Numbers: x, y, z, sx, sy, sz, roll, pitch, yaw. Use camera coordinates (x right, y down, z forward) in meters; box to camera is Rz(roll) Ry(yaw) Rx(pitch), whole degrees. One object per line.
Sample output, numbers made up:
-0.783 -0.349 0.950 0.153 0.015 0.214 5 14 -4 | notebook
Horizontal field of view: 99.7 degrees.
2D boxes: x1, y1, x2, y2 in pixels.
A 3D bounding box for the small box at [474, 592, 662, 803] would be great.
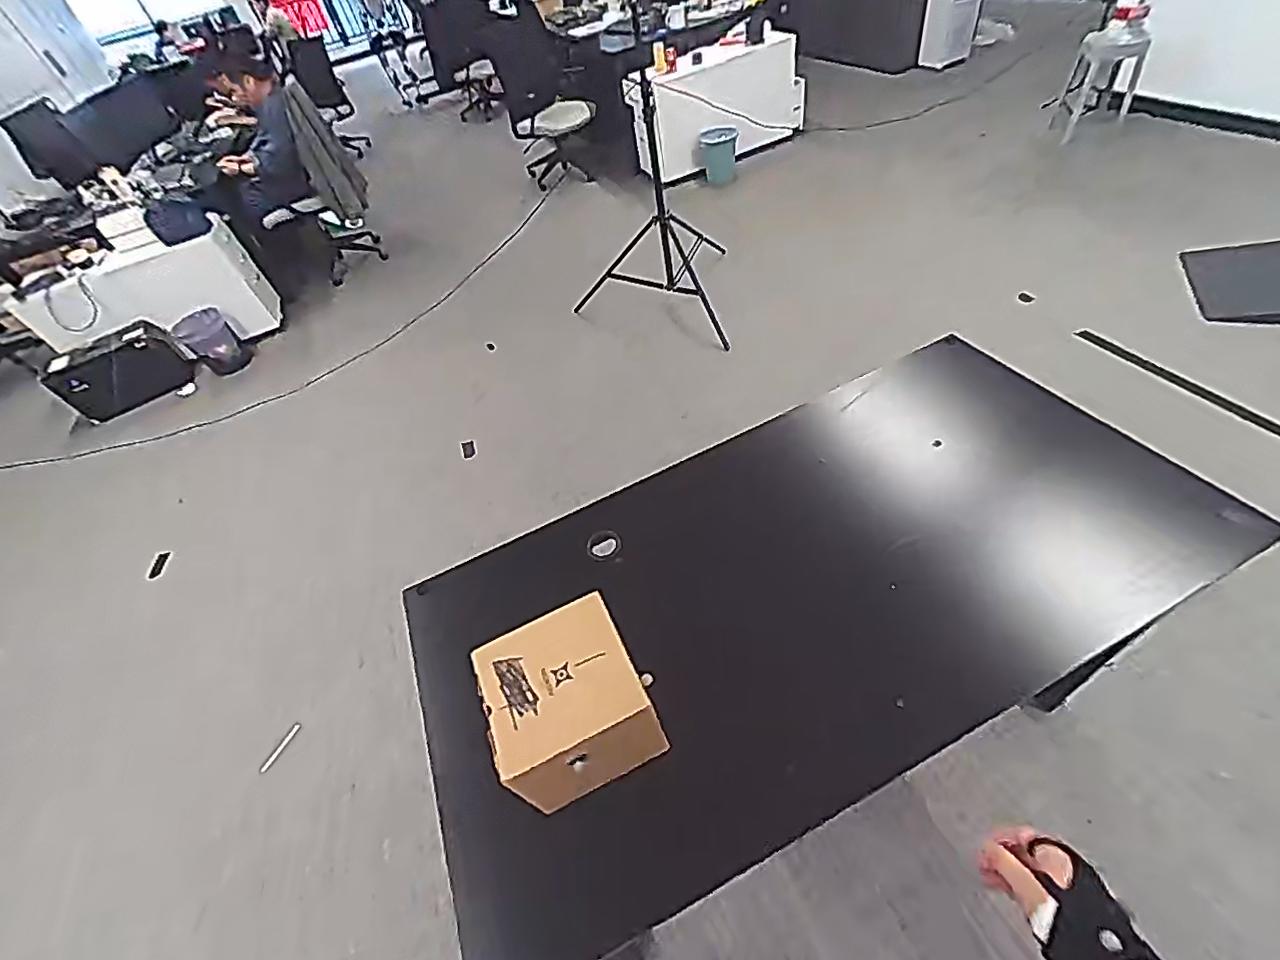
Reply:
-0.088 0.284 0.699 0.179 0.176 0.168 -24 49 -9 | small box
